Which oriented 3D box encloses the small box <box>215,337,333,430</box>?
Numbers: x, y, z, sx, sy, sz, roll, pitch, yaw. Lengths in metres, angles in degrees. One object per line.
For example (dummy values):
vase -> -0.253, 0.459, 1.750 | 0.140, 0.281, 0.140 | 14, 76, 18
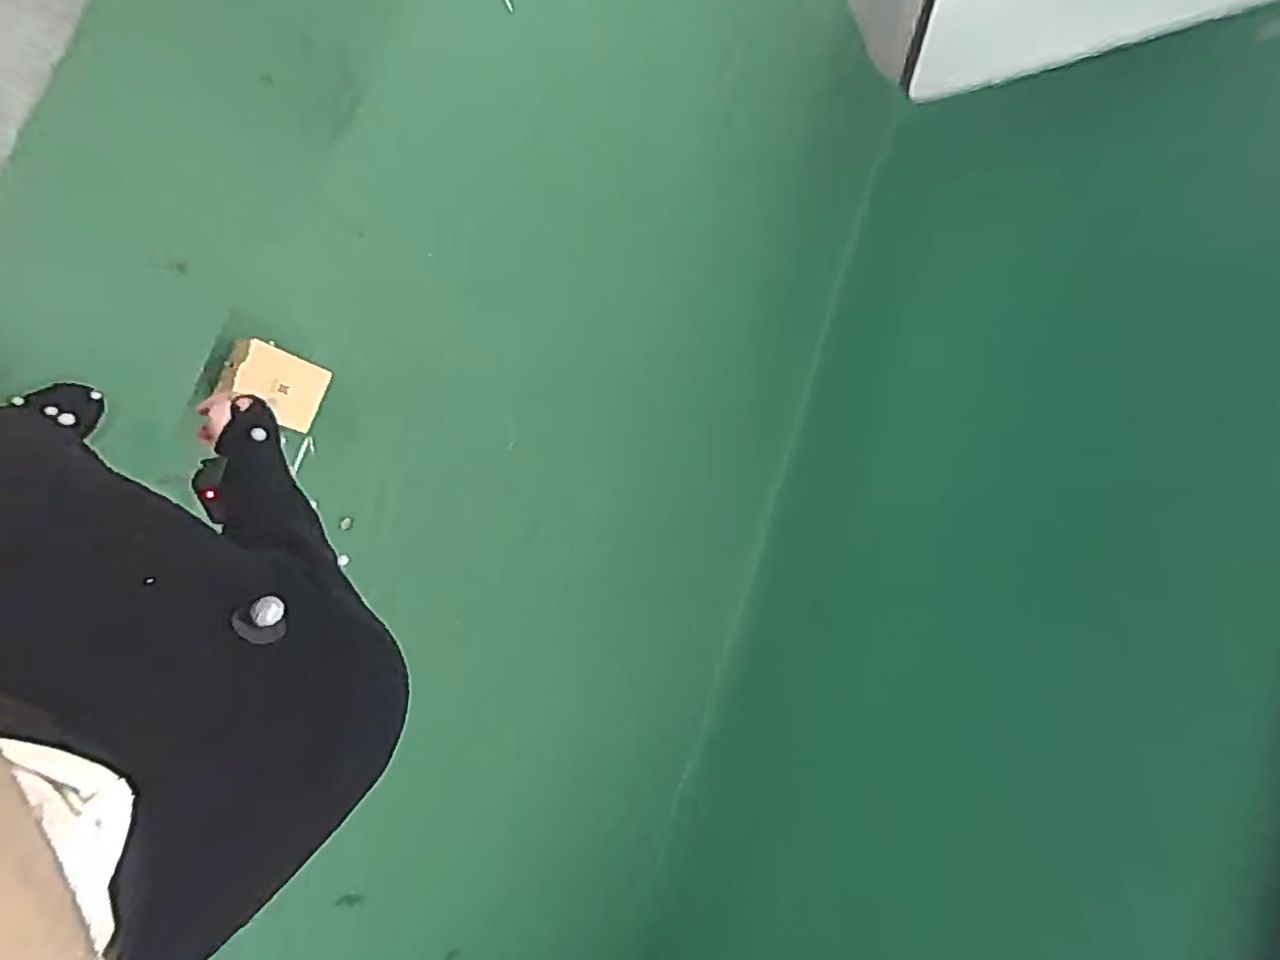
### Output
small box -> -0.895, -0.237, 1.321 | 0.179, 0.176, 0.168 | 26, 80, -46
